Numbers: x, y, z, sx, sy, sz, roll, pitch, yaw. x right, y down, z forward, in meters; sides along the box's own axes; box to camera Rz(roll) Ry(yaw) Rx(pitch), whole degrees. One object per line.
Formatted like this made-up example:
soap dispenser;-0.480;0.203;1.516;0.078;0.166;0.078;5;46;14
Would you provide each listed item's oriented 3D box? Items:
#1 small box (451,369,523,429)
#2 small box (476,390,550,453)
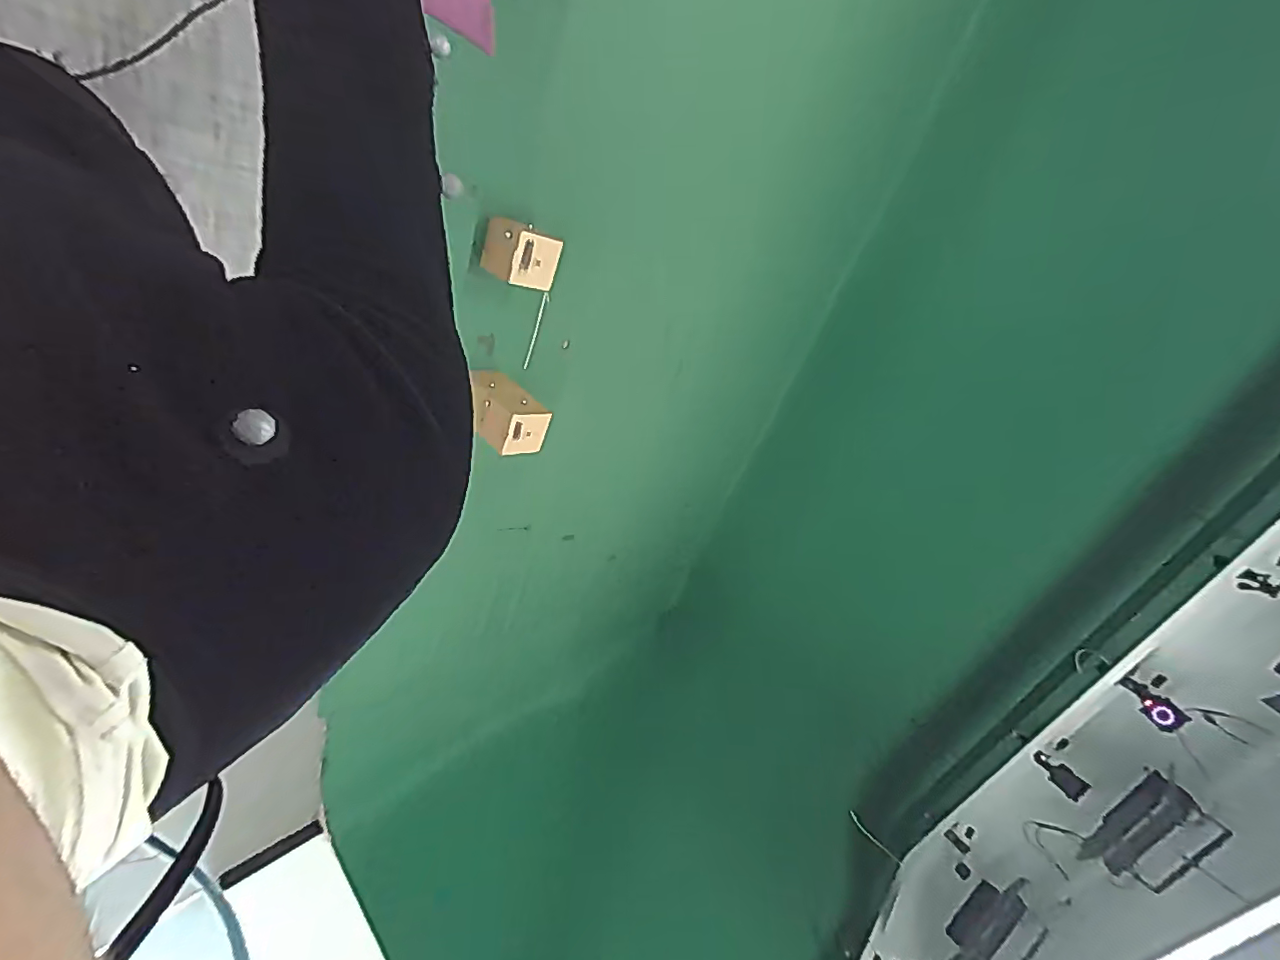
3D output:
small box;-0.573;-0.306;2.025;0.179;0.176;0.168;-11;132;-50
small box;-0.462;-0.214;1.947;0.179;0.176;0.168;-10;132;-51
